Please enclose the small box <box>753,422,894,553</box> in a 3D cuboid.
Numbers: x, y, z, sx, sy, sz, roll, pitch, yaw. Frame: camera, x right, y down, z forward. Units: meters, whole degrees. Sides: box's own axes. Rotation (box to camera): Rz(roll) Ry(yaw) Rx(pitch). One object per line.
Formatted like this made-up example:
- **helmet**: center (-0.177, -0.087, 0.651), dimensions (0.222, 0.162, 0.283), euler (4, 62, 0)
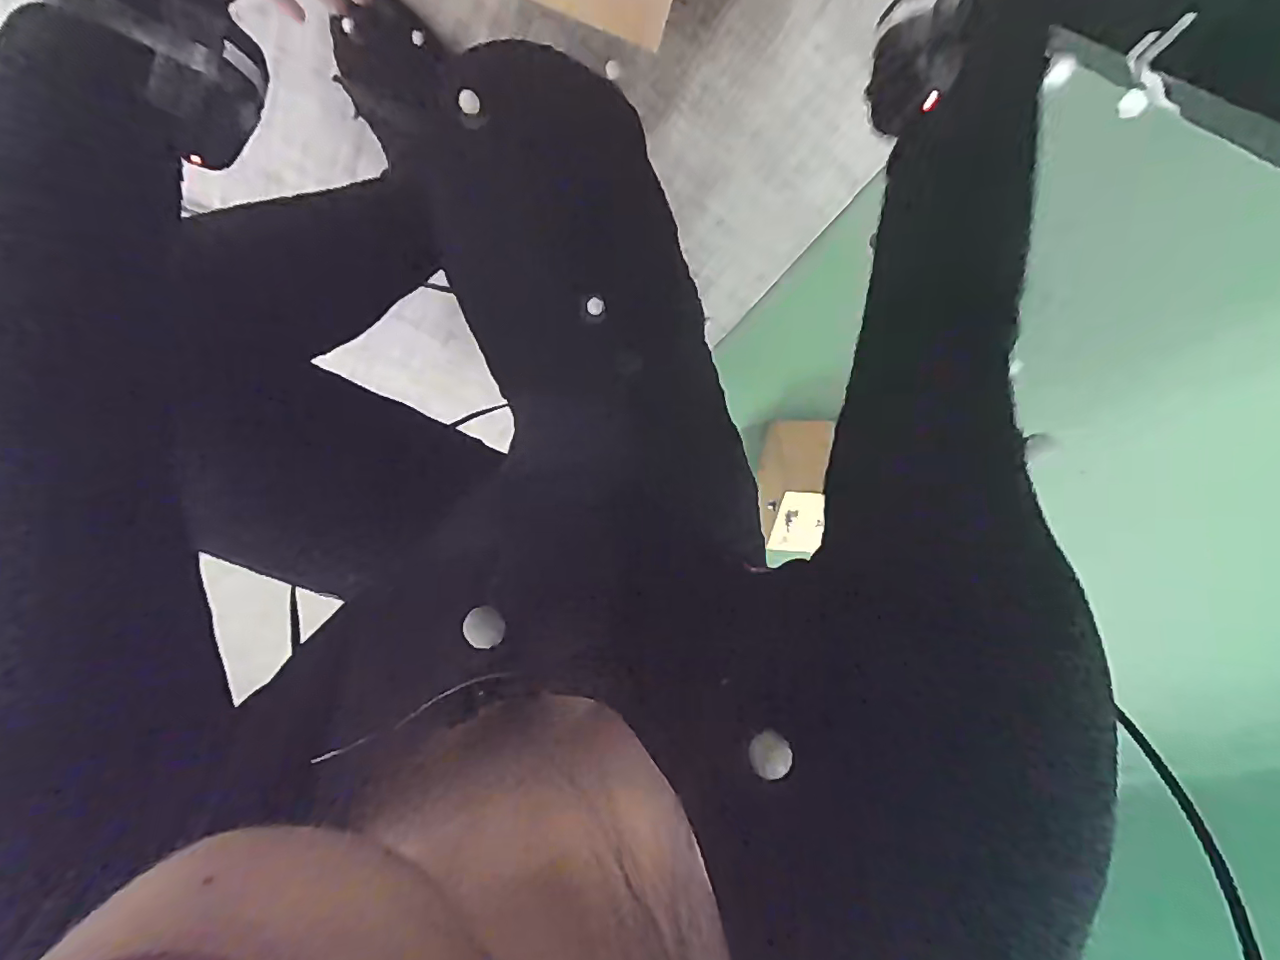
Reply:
- **small box**: center (0.307, 0.013, 0.948), dimensions (0.179, 0.176, 0.168), euler (1, 140, 0)
